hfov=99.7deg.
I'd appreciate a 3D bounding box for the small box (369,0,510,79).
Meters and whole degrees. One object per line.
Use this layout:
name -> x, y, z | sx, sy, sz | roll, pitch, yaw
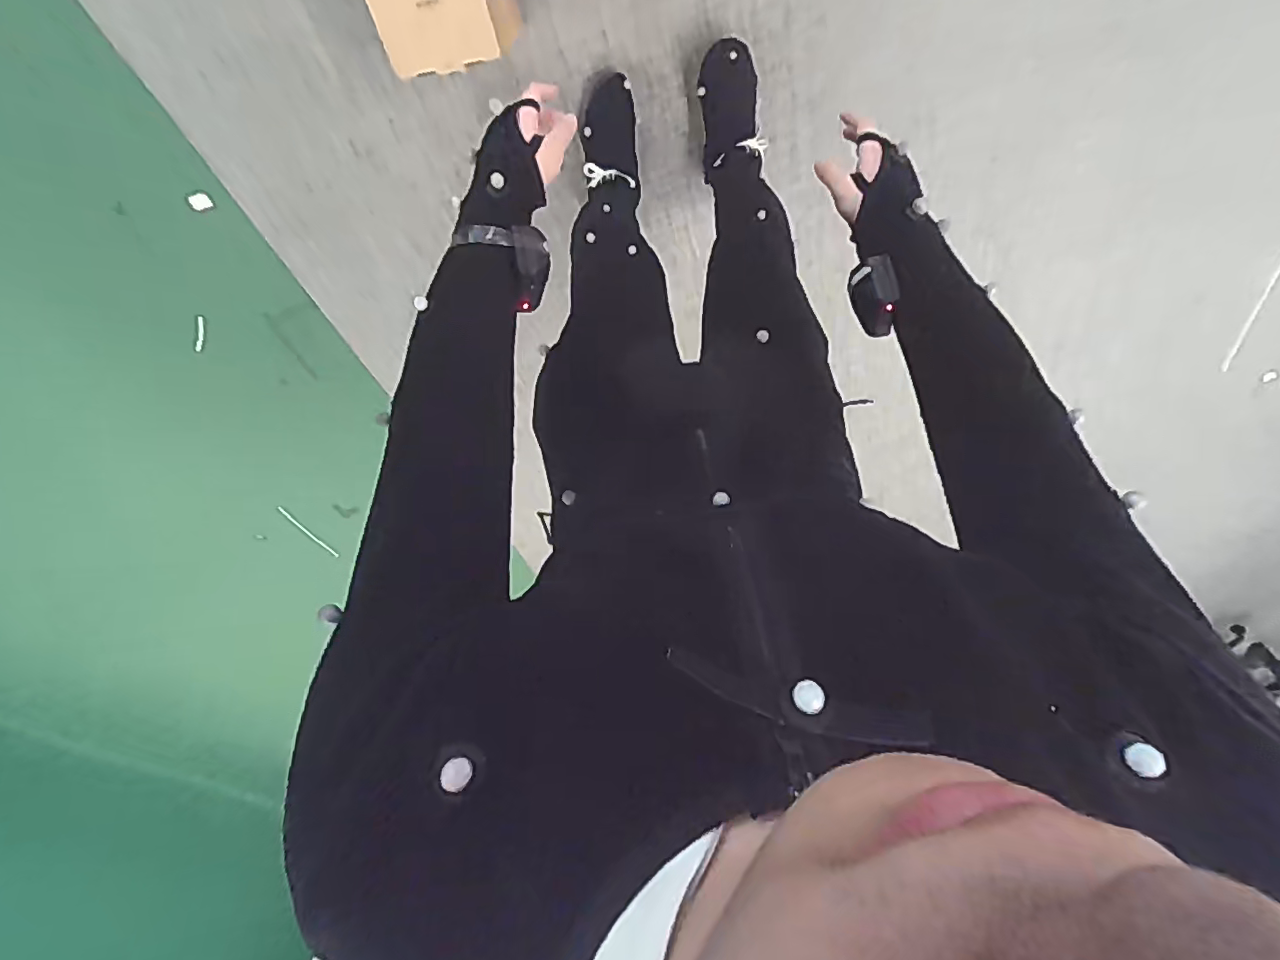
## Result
small box -> -0.306, -0.741, 0.816 | 0.168, 0.176, 0.179 | -10, 135, 4
